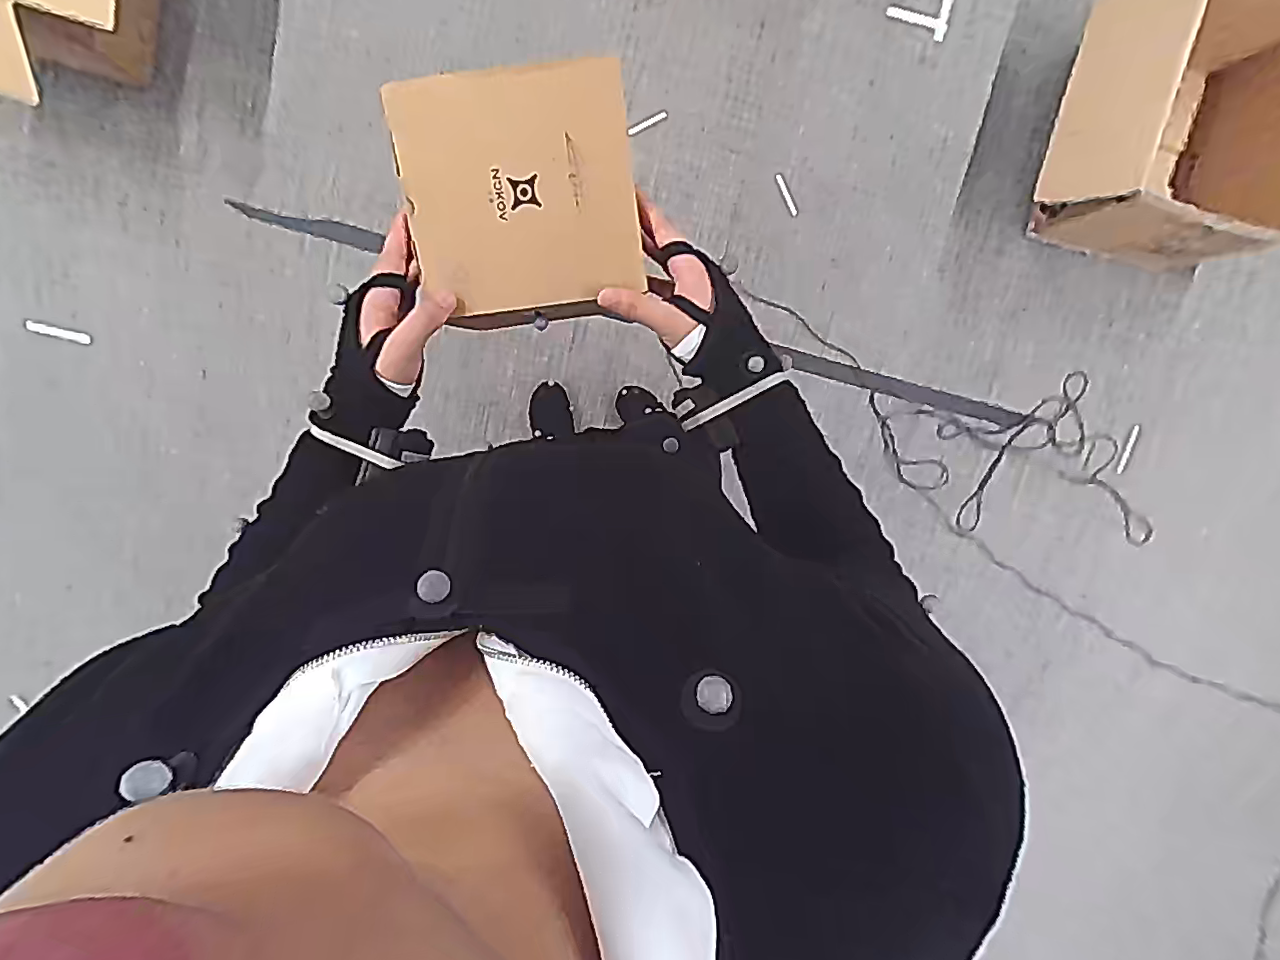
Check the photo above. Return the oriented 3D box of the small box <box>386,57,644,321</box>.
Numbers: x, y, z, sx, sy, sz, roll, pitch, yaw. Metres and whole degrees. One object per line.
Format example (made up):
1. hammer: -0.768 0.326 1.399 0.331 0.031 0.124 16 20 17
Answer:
1. small box: -0.095 -0.240 0.490 0.179 0.176 0.168 -8 105 -2
